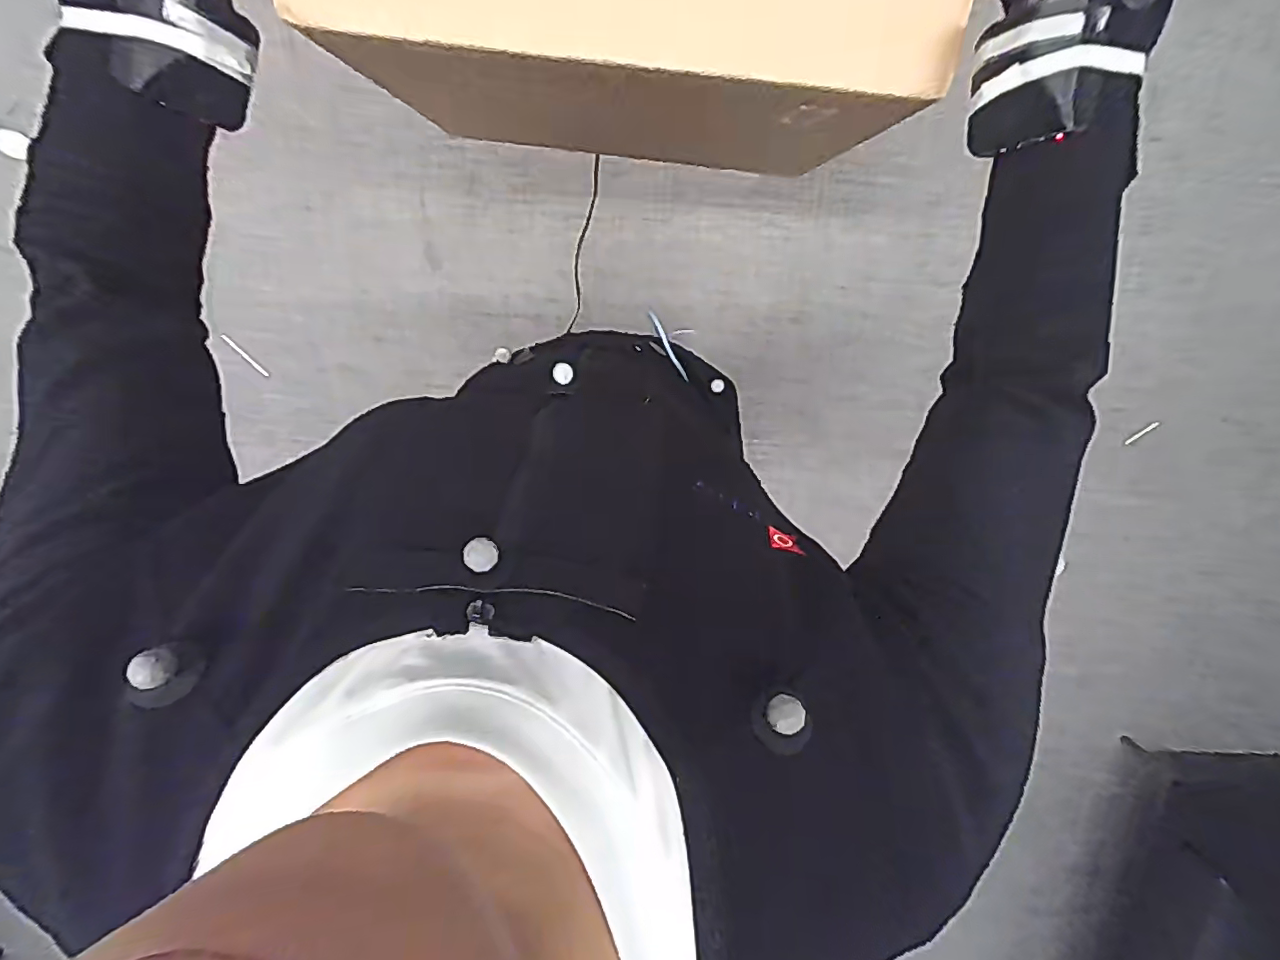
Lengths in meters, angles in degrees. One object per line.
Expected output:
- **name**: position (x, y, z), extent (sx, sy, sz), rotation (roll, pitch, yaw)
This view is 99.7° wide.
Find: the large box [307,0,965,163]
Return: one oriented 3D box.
- **large box**: position (0.005, -0.458, 0.416), extent (0.408, 0.320, 0.320), rotation (5, 113, -2)
